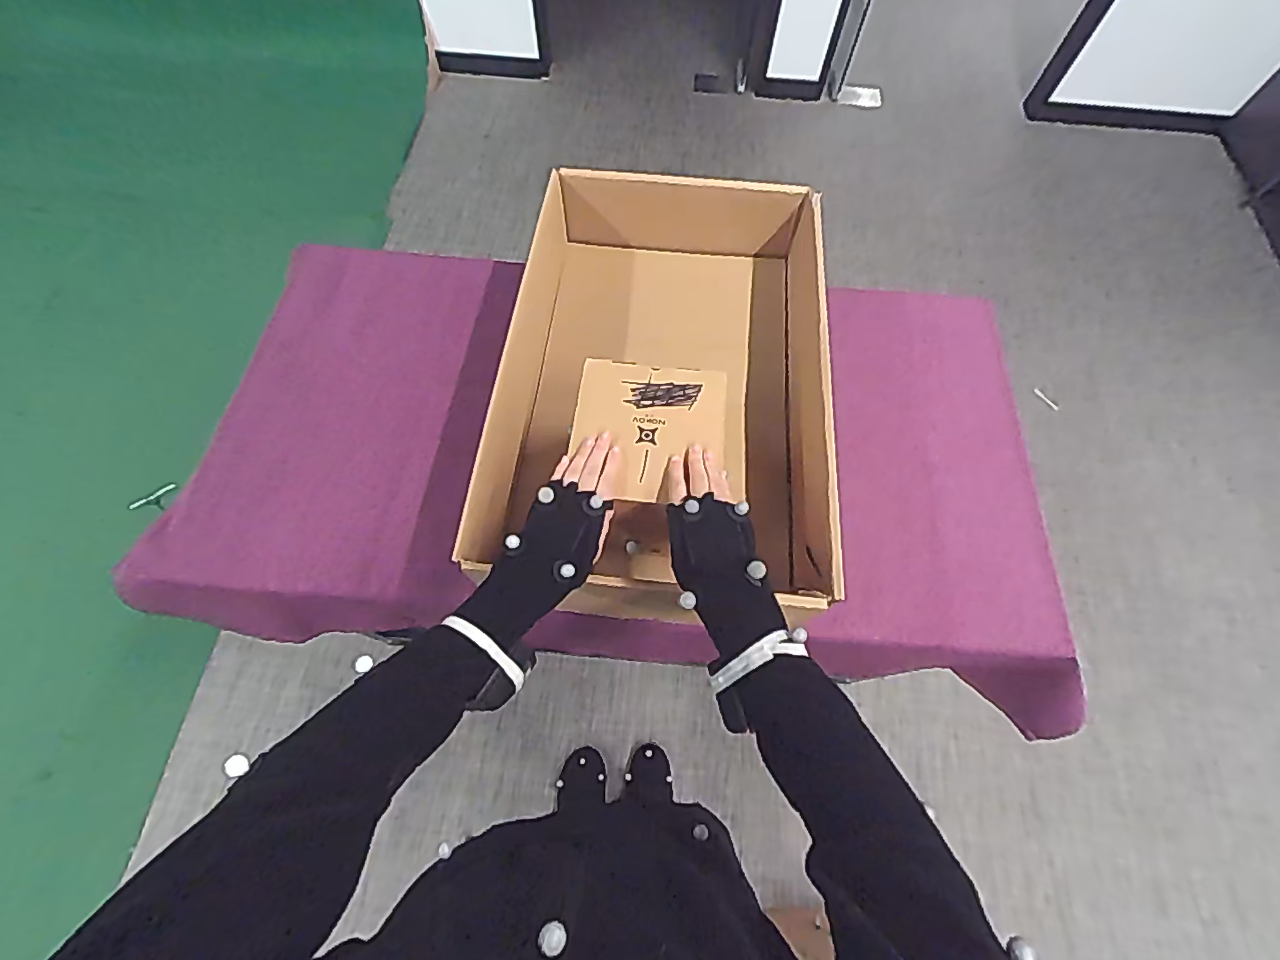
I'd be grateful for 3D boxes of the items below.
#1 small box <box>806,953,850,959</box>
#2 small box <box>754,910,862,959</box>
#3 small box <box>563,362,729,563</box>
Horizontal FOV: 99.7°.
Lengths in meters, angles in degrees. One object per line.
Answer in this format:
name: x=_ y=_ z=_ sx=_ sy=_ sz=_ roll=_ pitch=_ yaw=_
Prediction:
small box: x=0.340 y=0.821 z=0.776 sx=0.168 sy=0.176 sz=0.179 roll=6 pitch=64 yaw=2
small box: x=0.329 y=0.974 z=1.067 sx=0.179 sy=0.176 sz=0.168 roll=1 pitch=65 yaw=-2
small box: x=0.009 y=-0.015 z=0.655 sx=0.168 sy=0.176 sz=0.179 roll=6 pitch=64 yaw=2
